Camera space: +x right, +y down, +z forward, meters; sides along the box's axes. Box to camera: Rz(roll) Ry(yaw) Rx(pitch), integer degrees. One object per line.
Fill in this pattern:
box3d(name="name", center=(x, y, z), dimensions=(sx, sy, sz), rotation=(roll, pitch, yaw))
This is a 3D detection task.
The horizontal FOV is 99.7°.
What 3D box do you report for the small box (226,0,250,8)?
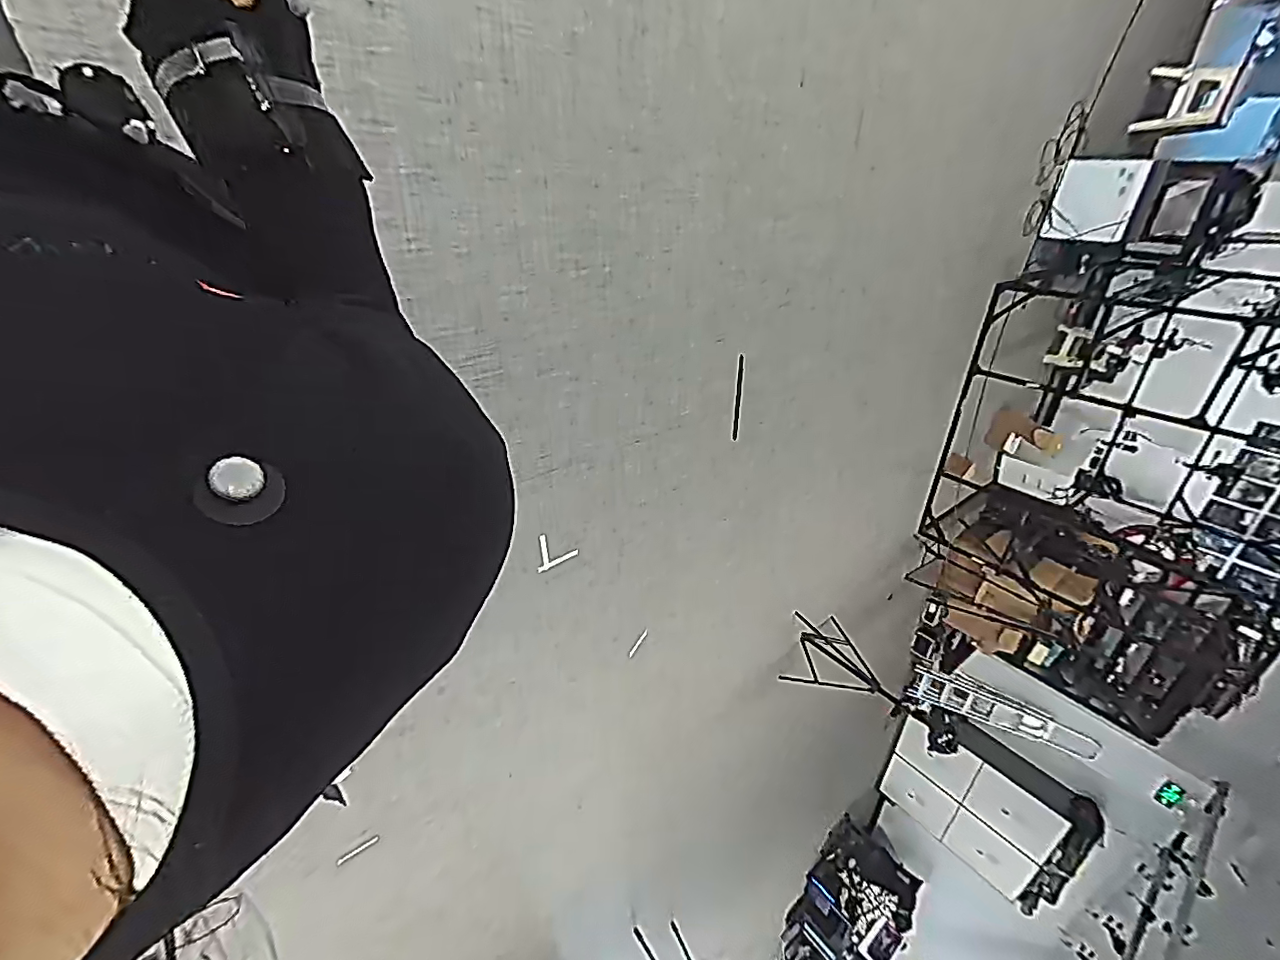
box3d(name="small box", center=(-0.209, -0.276, 0.145), dimensions=(0.176, 0.168, 0.179), rotation=(0, 128, -35))
